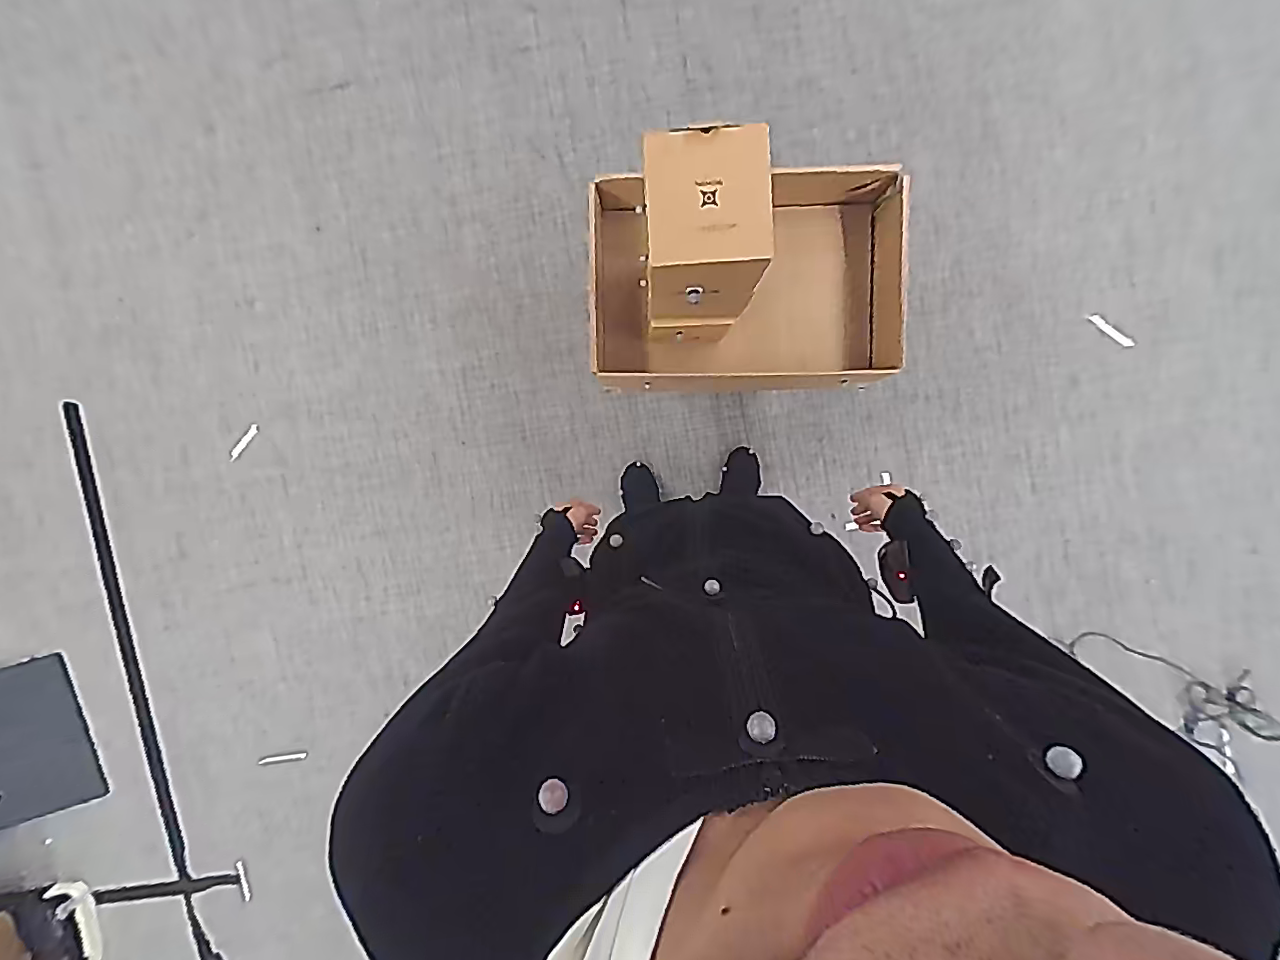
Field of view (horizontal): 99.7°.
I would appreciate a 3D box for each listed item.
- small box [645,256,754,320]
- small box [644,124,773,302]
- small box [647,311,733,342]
[{"bbox_3d":[0.097,-0.381,0.941,0.179,0.176,0.168,-1,93,0],"label":"small box"},{"bbox_3d":[0.089,-0.370,0.777,0.168,0.176,0.179,-3,92,2],"label":"small box"},{"bbox_3d":[0.097,-0.382,1.106,0.168,0.176,0.179,-2,93,1],"label":"small box"}]
